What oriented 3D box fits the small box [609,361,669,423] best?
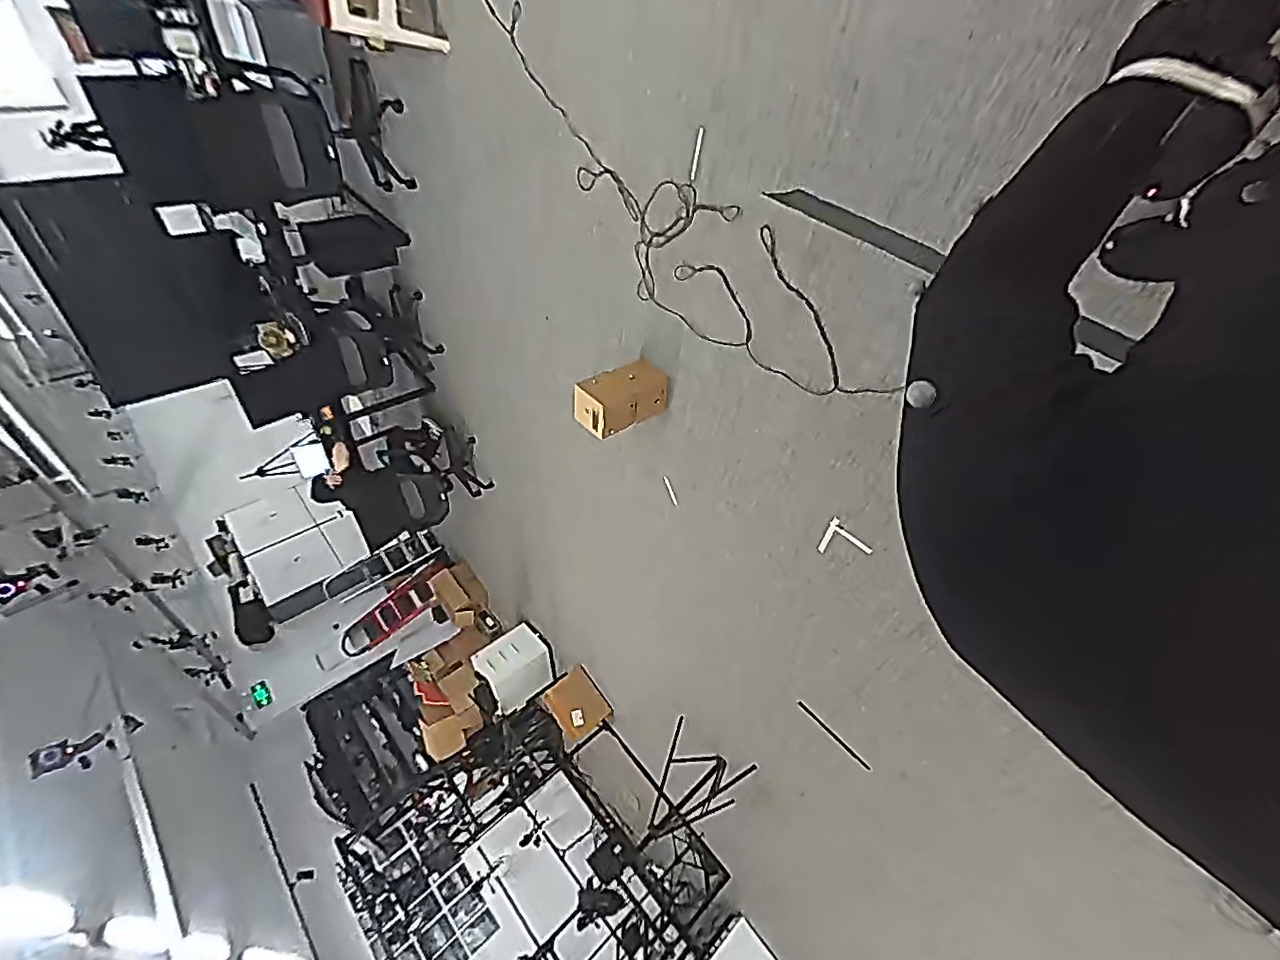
[{"bbox_3d":[-0.006,-0.360,2.175,0.179,0.176,0.168,36,141,32],"label":"small box"}]
